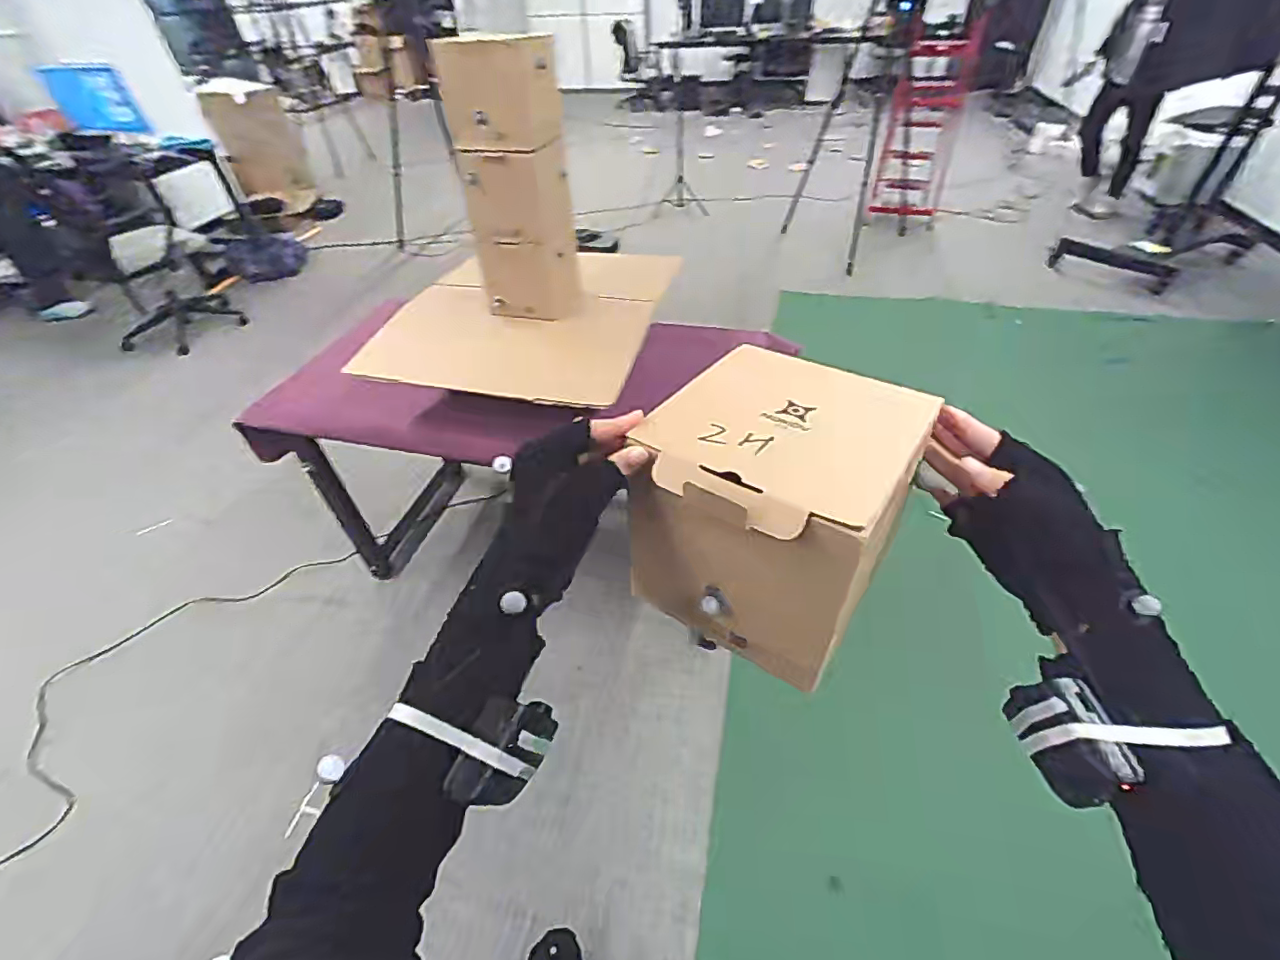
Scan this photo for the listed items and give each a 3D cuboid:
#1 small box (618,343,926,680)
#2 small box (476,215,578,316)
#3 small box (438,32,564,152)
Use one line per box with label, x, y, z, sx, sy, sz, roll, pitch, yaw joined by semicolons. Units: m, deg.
small box;0.099;0.016;0.432;0.168;0.176;0.179;23;46;28
small box;-0.248;-0.492;1.244;0.168;0.176;0.179;7;44;11
small box;-0.251;-0.741;1.030;0.168;0.176;0.179;9;43;11
